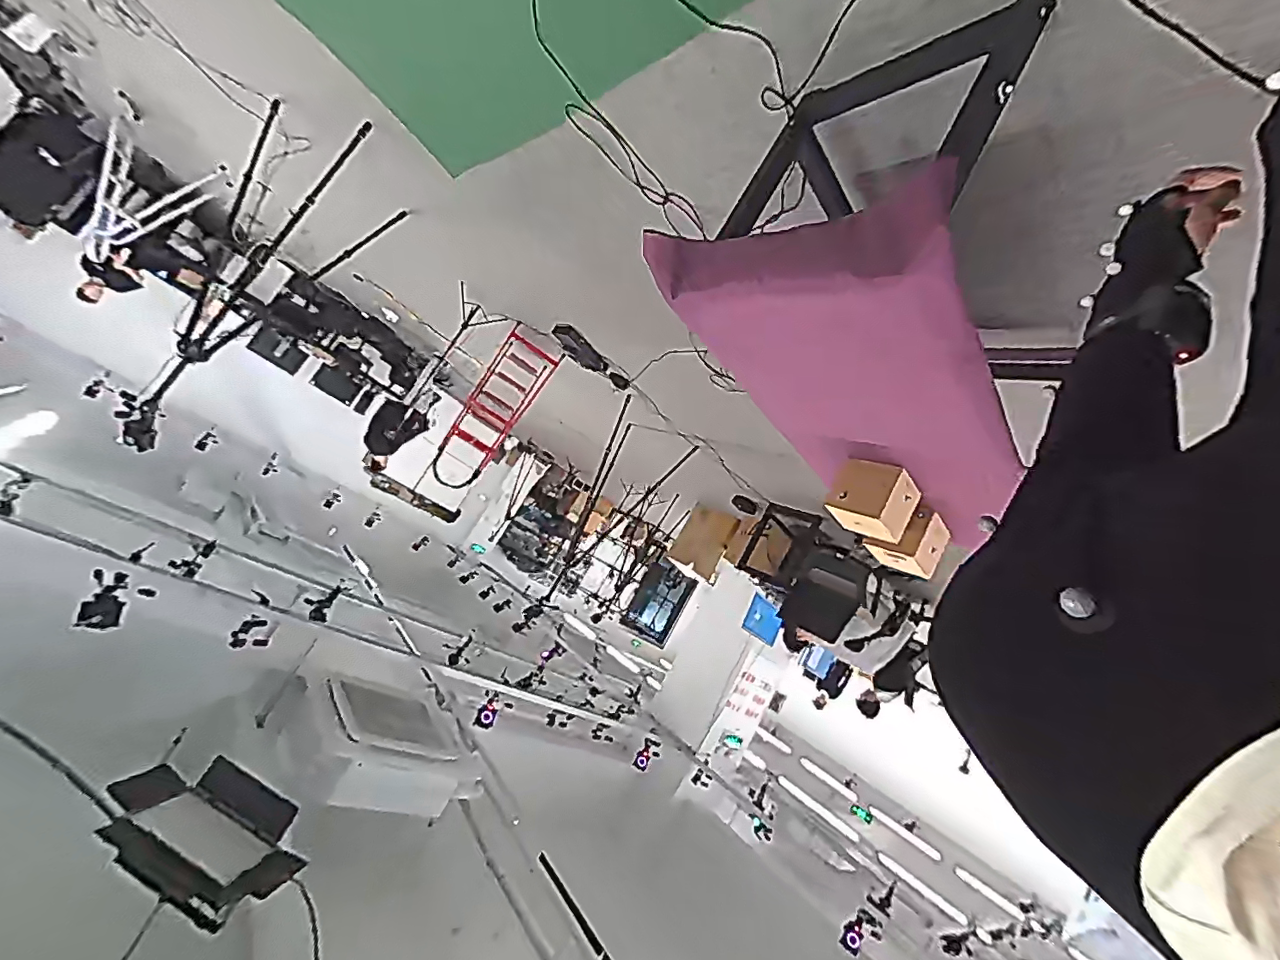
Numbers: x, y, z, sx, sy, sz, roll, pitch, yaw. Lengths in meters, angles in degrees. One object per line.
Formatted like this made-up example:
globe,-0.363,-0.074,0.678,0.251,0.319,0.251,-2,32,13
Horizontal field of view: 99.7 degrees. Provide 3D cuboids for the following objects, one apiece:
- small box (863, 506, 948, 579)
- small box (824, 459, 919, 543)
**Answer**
small box,0.847,0.184,1.717,0.179,0.176,0.168,37,168,-39
small box,0.676,0.056,1.576,0.179,0.176,0.168,17,164,49
